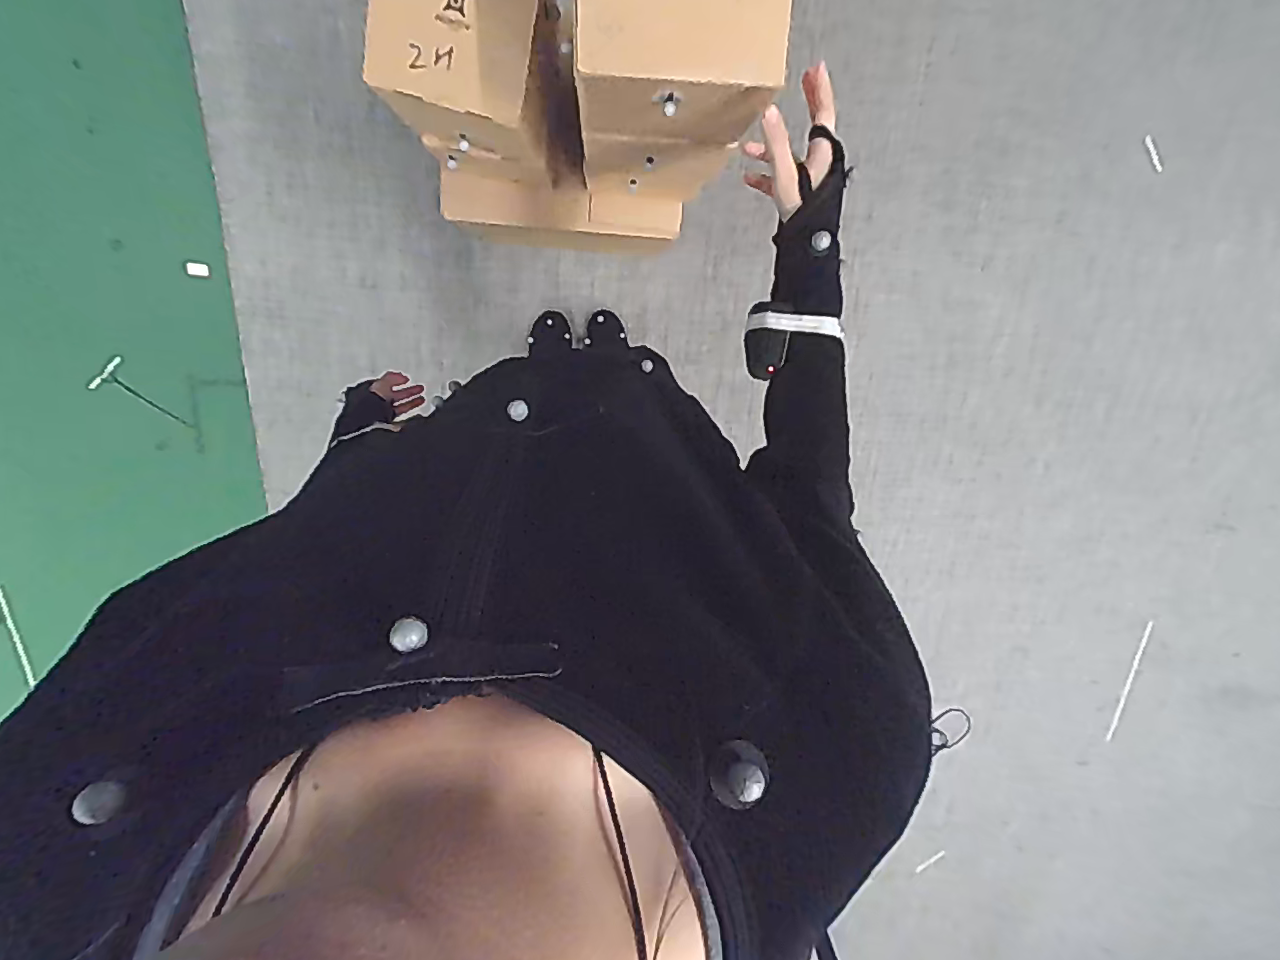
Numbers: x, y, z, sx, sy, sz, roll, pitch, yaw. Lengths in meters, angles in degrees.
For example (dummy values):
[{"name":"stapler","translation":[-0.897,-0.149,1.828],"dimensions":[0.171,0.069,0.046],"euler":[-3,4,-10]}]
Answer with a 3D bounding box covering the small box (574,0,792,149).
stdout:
[{"name":"small box","translation":[0.033,-0.426,0.503],"dimensions":[0.179,0.176,0.168],"euler":[2,108,-4]}]
